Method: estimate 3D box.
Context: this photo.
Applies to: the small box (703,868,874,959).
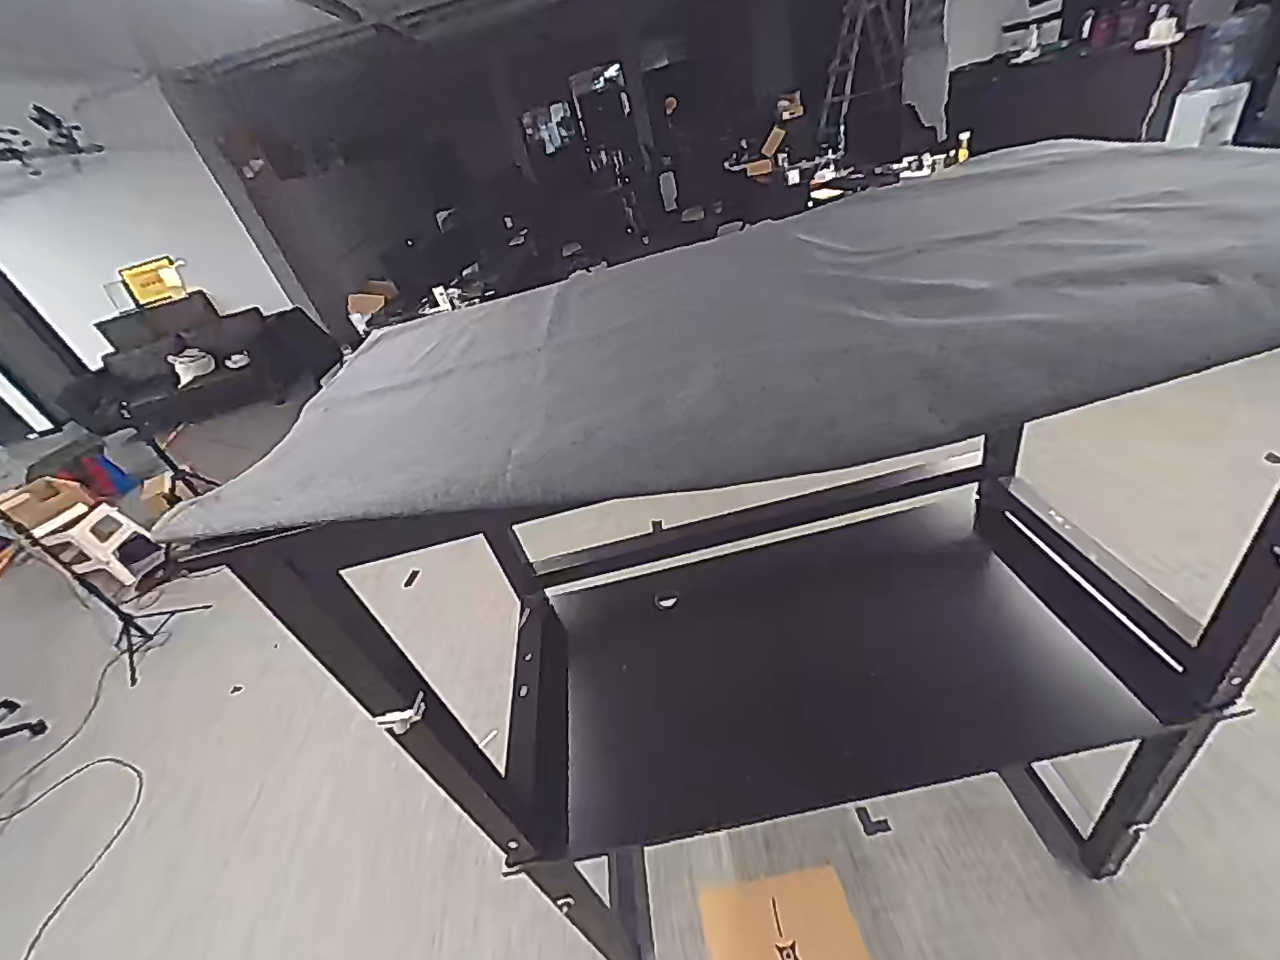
[{"bbox_3d":[0.175,0.574,0.581,0.168,0.176,0.179,-12,20,0],"label":"small box"}]
